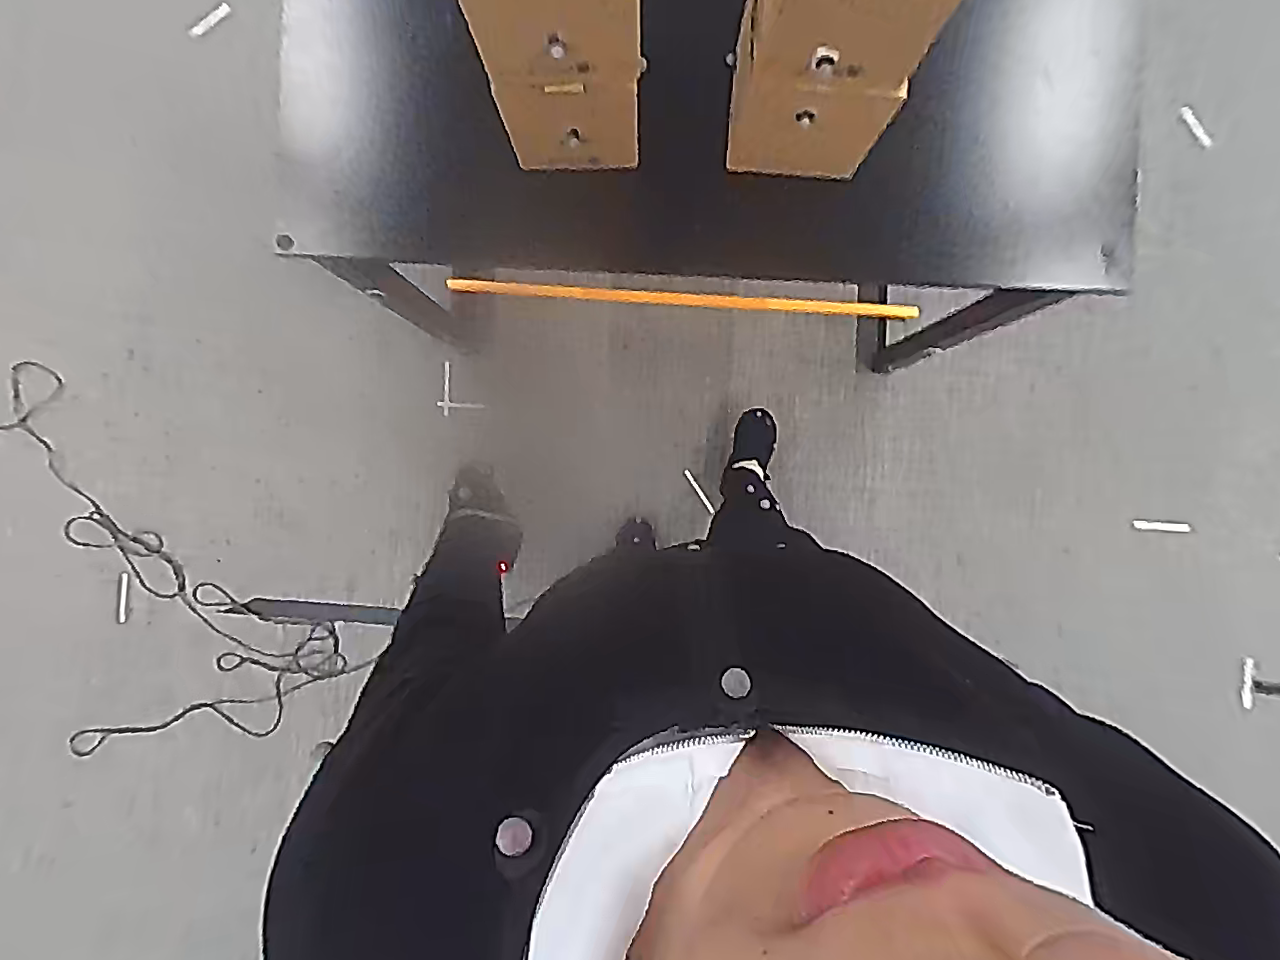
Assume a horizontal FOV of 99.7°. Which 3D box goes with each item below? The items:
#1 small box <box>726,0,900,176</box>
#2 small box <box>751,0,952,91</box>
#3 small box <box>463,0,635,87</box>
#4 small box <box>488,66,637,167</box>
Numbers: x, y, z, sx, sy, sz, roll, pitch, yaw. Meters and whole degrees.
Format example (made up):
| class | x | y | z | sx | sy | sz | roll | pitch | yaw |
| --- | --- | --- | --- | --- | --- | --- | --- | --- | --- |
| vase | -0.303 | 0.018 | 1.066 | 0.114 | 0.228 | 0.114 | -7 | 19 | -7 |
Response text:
| class | x | y | z | sx | sy | sz | roll | pitch | yaw |
| --- | --- | --- | --- | --- | --- | --- | --- | --- | --- |
| small box | 0.209 | -0.512 | 0.683 | 0.179 | 0.176 | 0.168 | 4 | 90 | 0 |
| small box | 0.206 | -0.521 | 0.521 | 0.168 | 0.176 | 0.179 | 3 | 91 | 2 |
| small box | -0.091 | -0.527 | 0.521 | 0.168 | 0.176 | 0.179 | -3 | 90 | 1 |
| small box | -0.090 | -0.524 | 0.687 | 0.168 | 0.176 | 0.179 | -2 | 90 | 1 |
